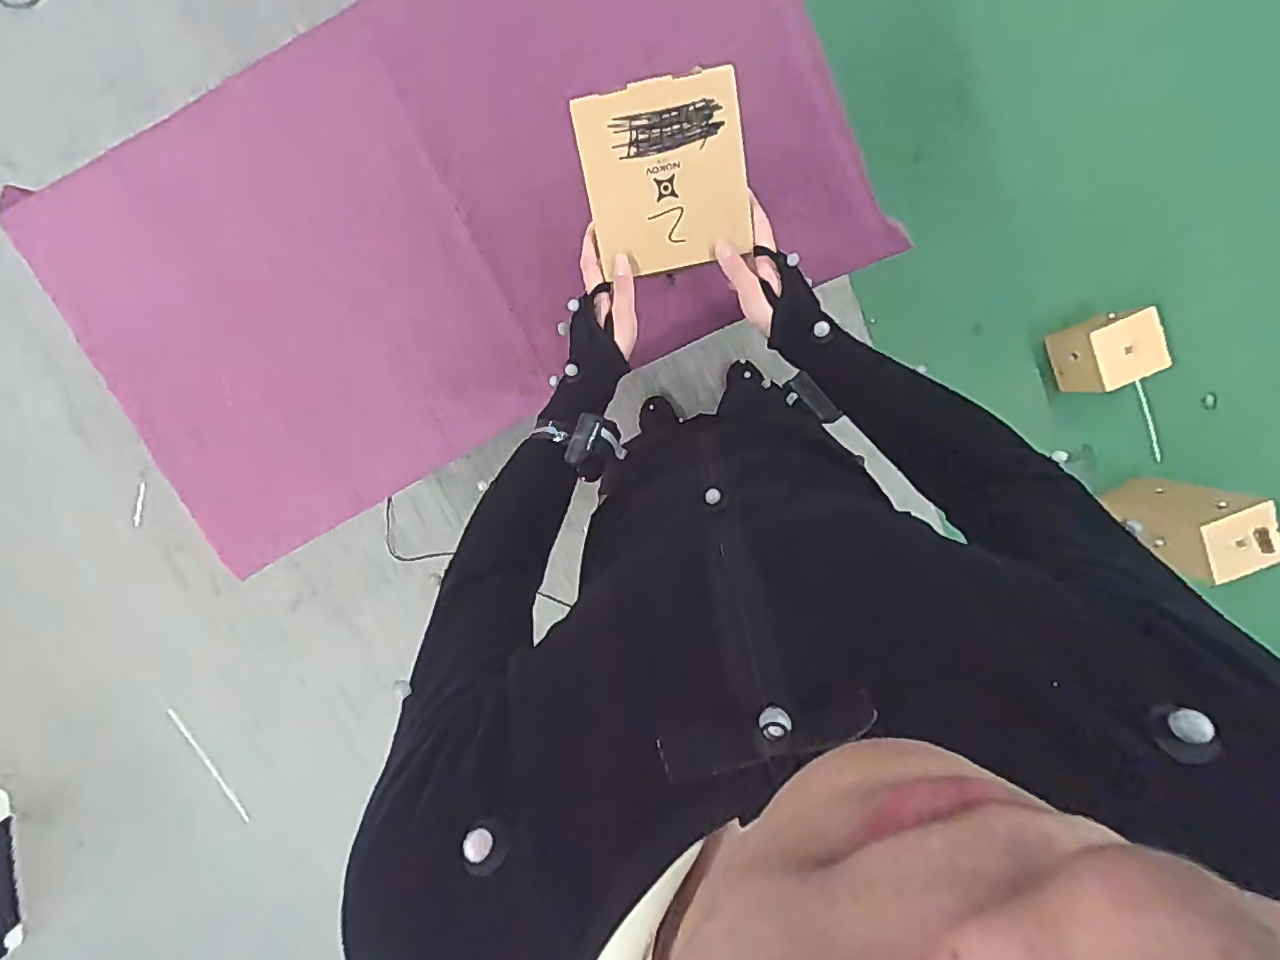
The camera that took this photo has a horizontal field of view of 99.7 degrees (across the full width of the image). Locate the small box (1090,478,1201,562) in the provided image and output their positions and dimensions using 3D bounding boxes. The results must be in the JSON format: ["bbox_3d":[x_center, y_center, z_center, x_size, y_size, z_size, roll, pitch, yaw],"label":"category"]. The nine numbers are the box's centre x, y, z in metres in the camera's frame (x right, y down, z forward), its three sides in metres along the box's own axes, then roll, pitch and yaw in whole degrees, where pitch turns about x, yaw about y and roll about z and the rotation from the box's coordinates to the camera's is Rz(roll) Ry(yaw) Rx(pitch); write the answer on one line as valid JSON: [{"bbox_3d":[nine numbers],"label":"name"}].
[{"bbox_3d":[1.457,0.108,1.549,0.179,0.176,0.168,-23,99,4],"label":"small box"}]

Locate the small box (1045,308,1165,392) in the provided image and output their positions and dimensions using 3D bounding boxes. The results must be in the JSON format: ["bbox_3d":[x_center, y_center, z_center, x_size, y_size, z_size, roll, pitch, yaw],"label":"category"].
[{"bbox_3d":[1.254,-0.346,1.477,0.179,0.176,0.168,-25,98,3],"label":"small box"}]

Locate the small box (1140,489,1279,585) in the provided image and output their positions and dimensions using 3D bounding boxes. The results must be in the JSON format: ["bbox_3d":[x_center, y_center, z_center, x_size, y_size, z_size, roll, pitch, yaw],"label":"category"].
[{"bbox_3d":[1.458,0.138,1.388,0.179,0.176,0.168,-24,99,4],"label":"small box"}]
